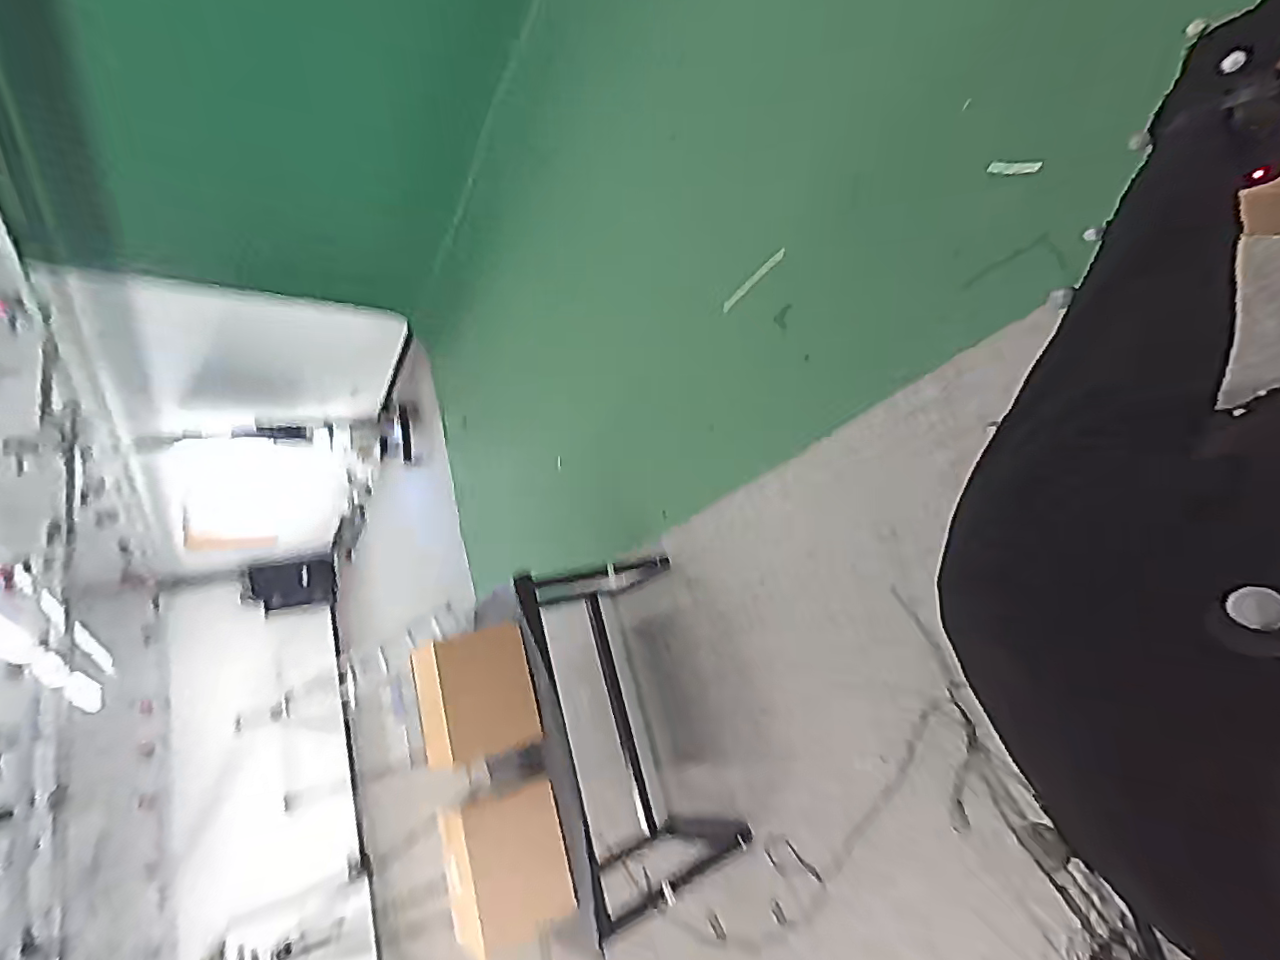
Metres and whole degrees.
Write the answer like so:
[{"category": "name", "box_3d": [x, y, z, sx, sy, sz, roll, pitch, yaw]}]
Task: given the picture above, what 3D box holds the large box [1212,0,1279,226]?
[{"category": "large box", "box_3d": [0.790, -0.397, 0.424, 0.408, 0.320, 0.320, 20, 114, 44]}]
